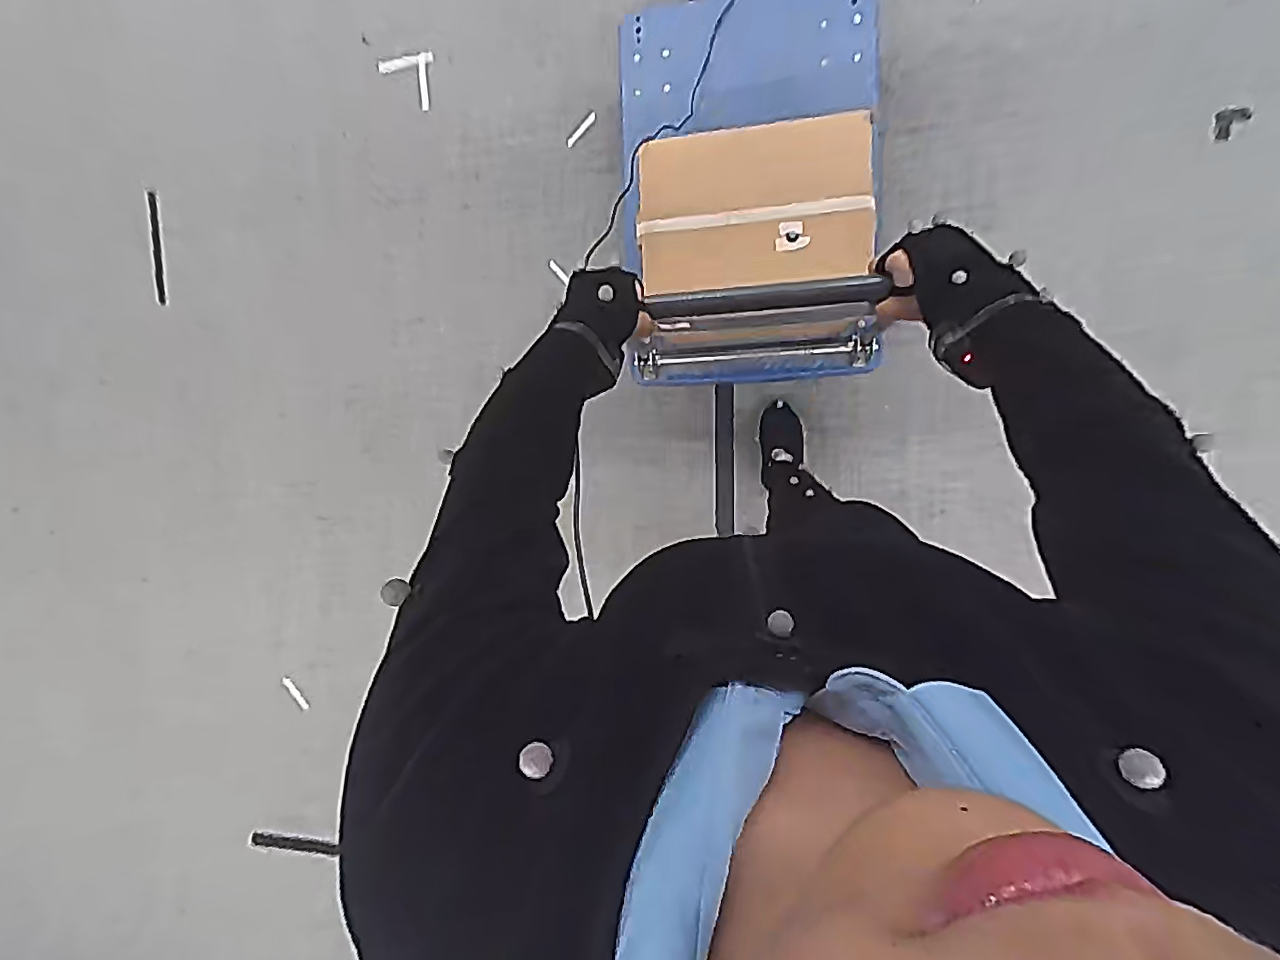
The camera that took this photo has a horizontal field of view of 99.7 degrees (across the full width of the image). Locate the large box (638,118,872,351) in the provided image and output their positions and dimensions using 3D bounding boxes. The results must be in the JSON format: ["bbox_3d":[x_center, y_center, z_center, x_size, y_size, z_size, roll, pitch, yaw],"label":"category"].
[{"bbox_3d":[0.222,-0.461,1.105,0.408,0.320,0.320,-2,93,10],"label":"large box"}]
